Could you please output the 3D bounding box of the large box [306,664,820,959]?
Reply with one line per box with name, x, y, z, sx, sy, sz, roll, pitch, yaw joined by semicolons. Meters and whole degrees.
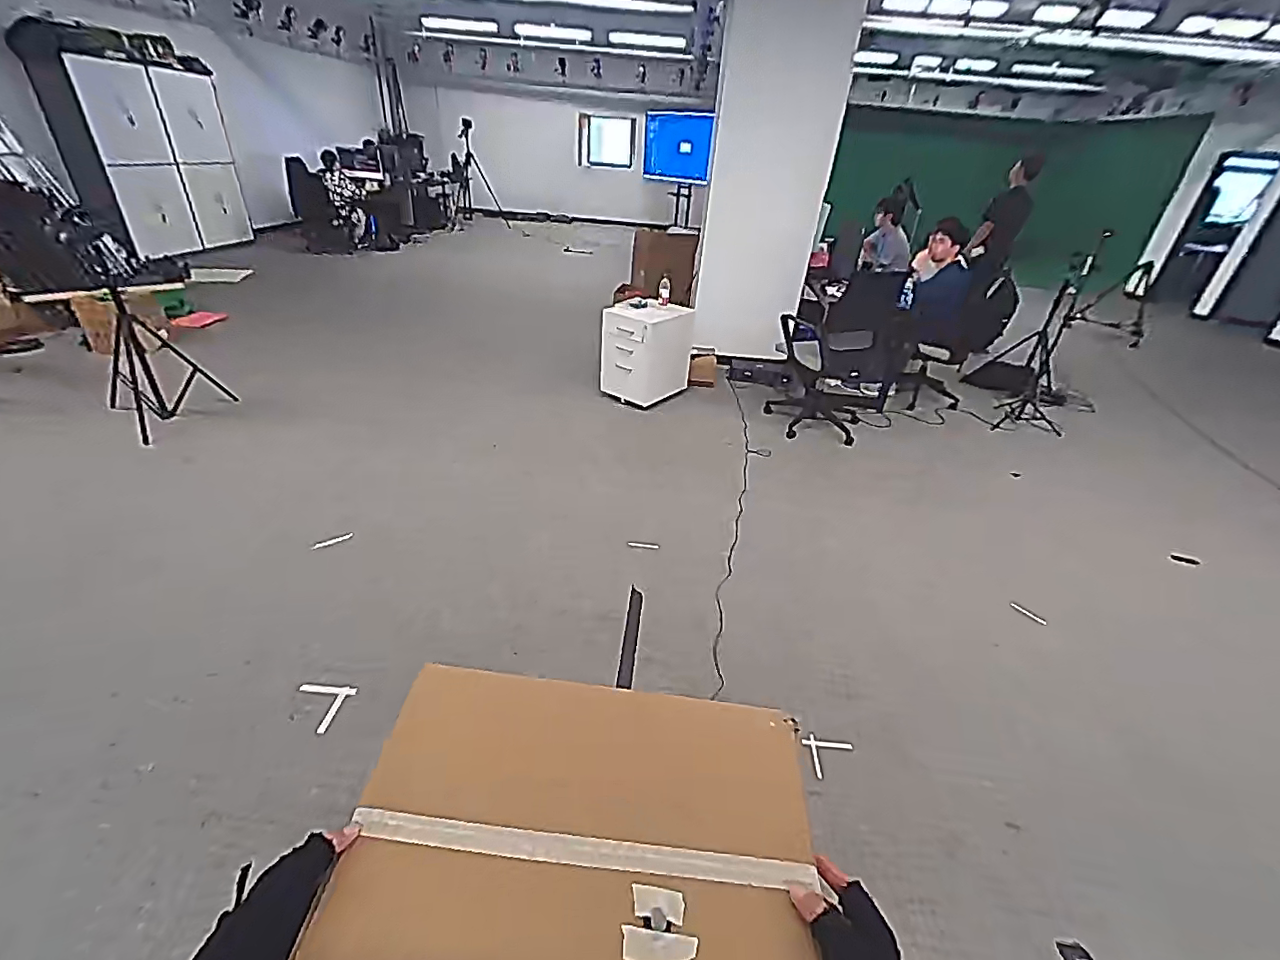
large box;-0.063;0.438;0.575;0.408;0.320;0.320;8;39;0
